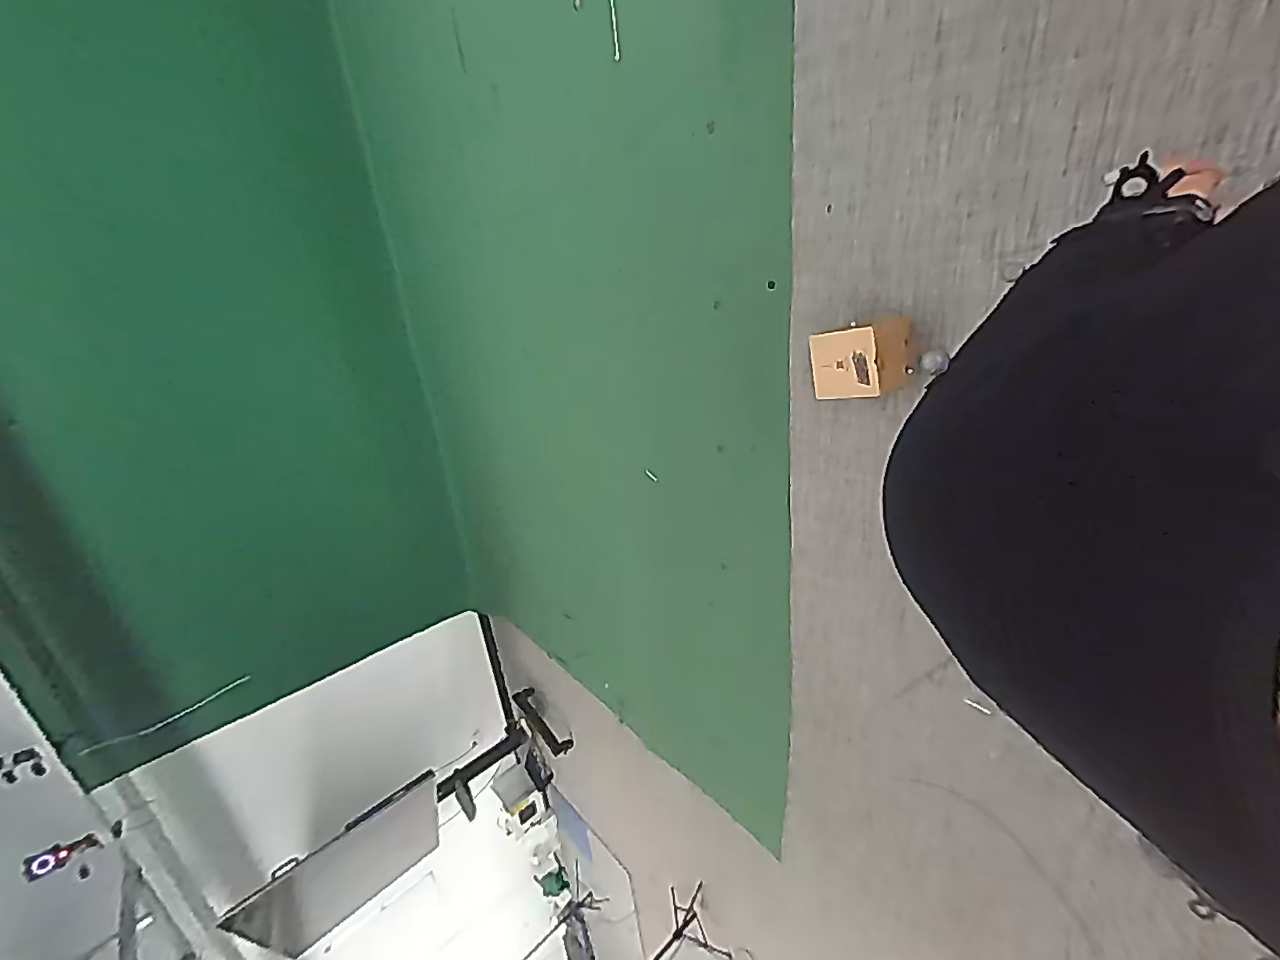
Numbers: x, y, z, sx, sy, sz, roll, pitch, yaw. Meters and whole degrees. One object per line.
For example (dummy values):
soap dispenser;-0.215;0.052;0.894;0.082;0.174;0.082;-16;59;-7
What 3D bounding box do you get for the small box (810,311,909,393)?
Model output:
small box;0.557;-0.320;1.359;0.179;0.176;0.168;7;114;51
